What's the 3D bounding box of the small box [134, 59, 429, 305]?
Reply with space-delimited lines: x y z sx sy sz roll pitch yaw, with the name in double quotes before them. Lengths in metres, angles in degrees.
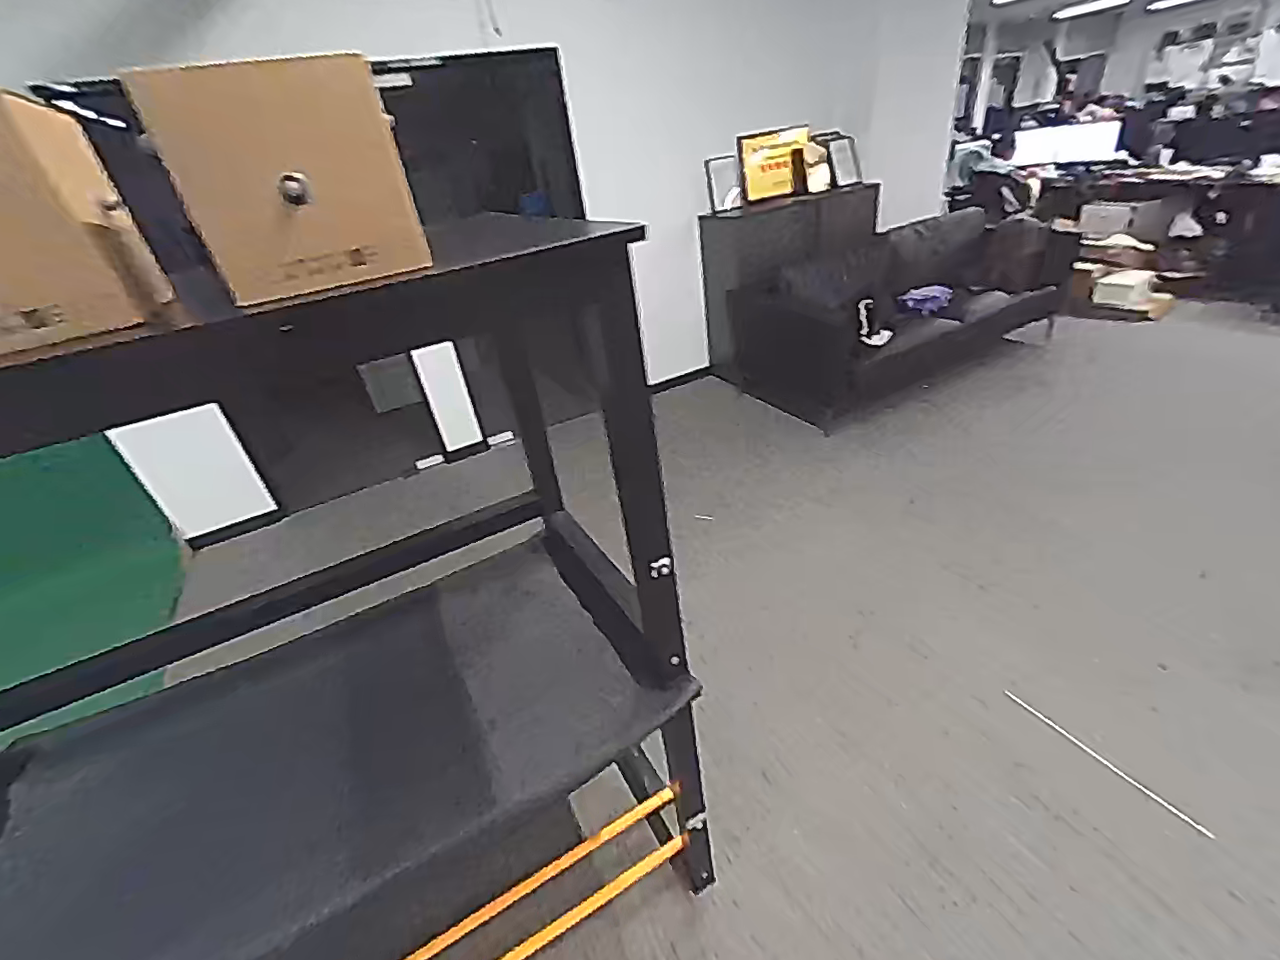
"small box" -0.318 -0.276 0.519 0.168 0.176 0.179 -21 33 -19
